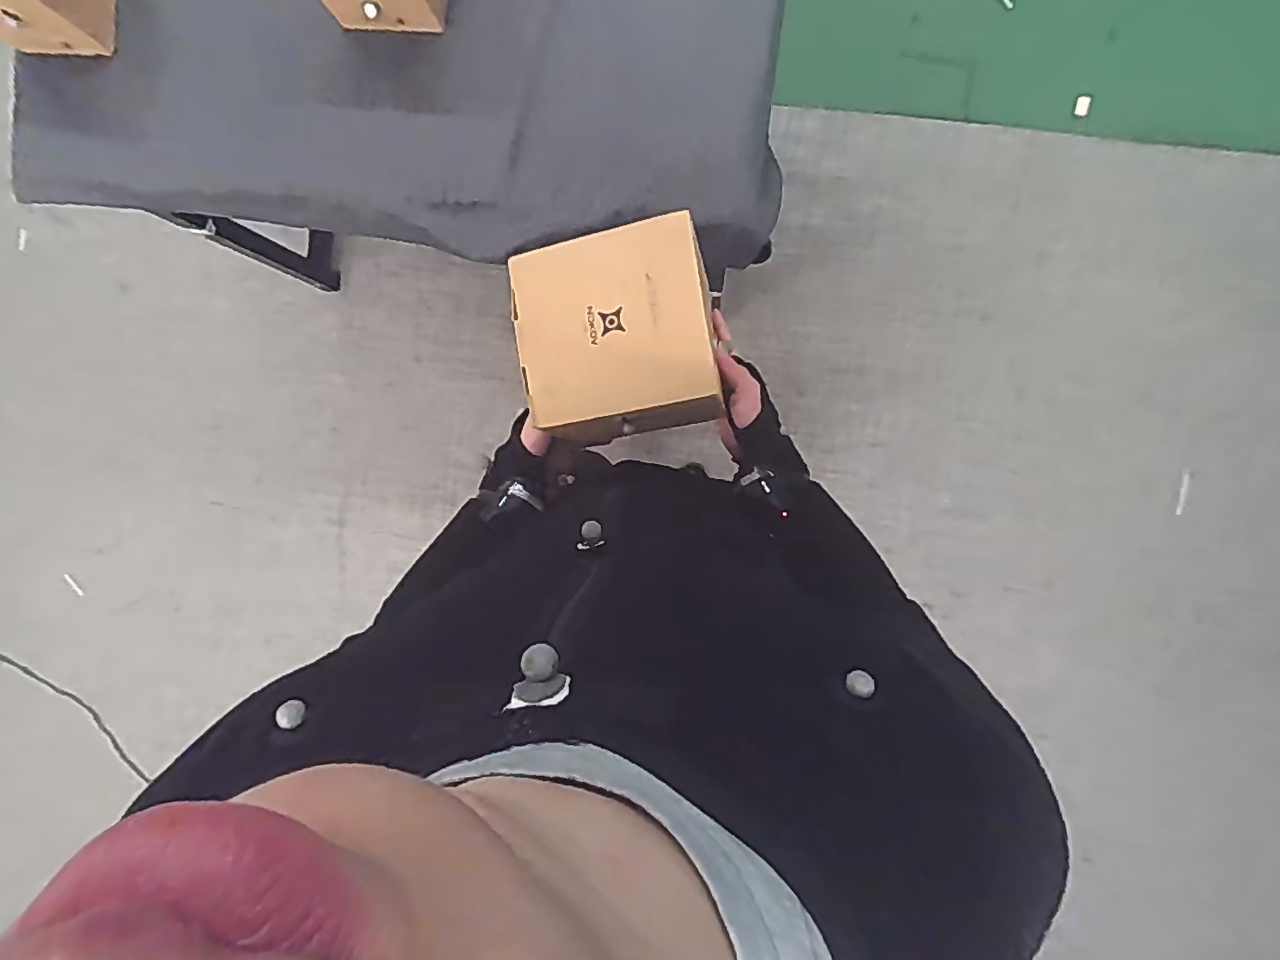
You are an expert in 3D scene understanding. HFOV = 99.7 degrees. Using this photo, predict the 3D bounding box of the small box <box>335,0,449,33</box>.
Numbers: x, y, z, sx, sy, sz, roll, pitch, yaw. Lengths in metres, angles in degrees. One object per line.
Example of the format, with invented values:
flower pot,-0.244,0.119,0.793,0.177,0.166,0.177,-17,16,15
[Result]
small box,-0.370,-0.774,0.745,0.168,0.176,0.179,7,95,5

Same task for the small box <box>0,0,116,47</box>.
small box,-0.921,-0.779,0.791,0.168,0.176,0.179,5,94,4

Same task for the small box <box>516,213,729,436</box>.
small box,-0.006,-0.145,0.573,0.179,0.176,0.168,-10,89,11
